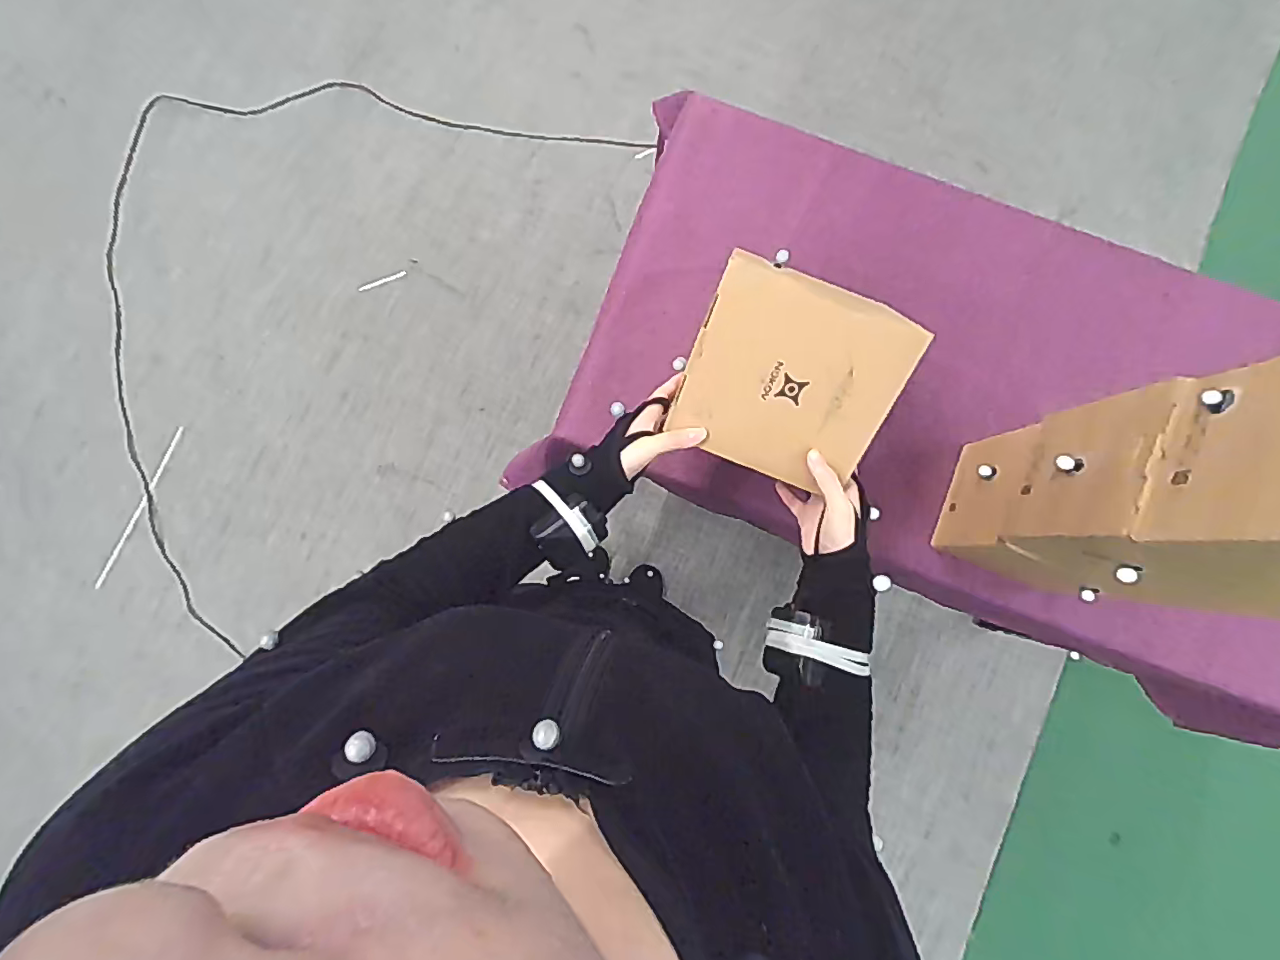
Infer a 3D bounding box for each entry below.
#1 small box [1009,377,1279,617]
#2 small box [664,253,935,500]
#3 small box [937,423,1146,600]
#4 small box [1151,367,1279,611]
[{"bbox_3d":[0.534,0.024,0.557,0.179,0.176,0.168,26,85,2],"label":"small box"},{"bbox_3d":[0.142,-0.113,0.535,0.179,0.176,0.168,22,118,1],"label":"small box"},{"bbox_3d":[0.538,0.045,0.720,0.179,0.176,0.168,22,84,1],"label":"small box"},{"bbox_3d":[0.544,0.012,0.392,0.179,0.176,0.168,27,84,0],"label":"small box"}]
